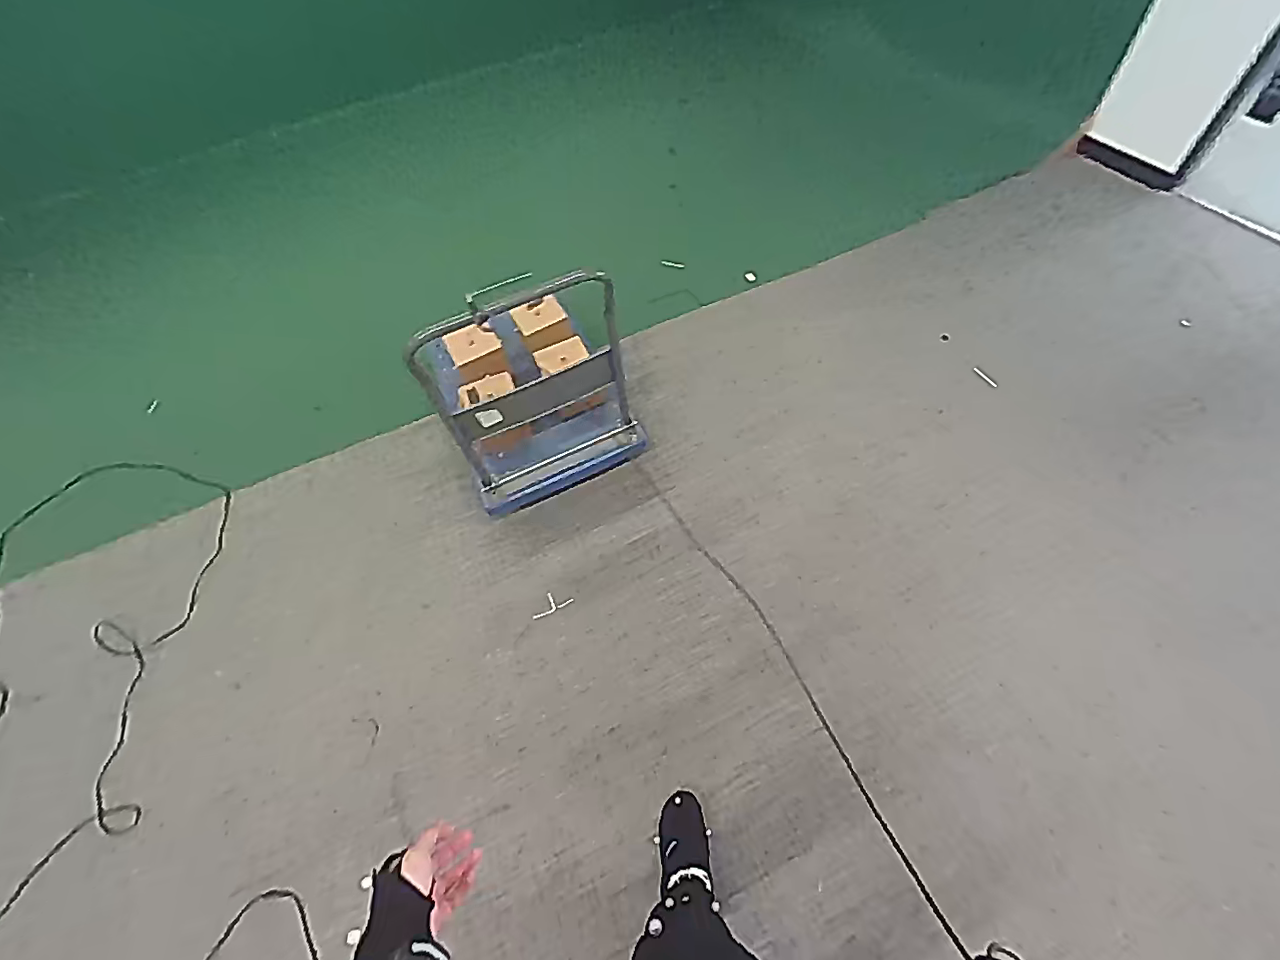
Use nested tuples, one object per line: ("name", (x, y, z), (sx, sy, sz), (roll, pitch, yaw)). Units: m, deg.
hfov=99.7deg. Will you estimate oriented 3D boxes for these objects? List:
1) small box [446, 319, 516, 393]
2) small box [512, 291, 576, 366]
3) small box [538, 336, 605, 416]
("small box", (-0.562, -0.434, 1.933), (0.168, 0.176, 0.179), (-27, 58, -11))
("small box", (-0.343, -0.549, 1.979), (0.168, 0.176, 0.179), (-28, 59, -10))
("small box", (-0.230, -0.349, 1.837), (0.168, 0.176, 0.179), (-23, 58, -8))
